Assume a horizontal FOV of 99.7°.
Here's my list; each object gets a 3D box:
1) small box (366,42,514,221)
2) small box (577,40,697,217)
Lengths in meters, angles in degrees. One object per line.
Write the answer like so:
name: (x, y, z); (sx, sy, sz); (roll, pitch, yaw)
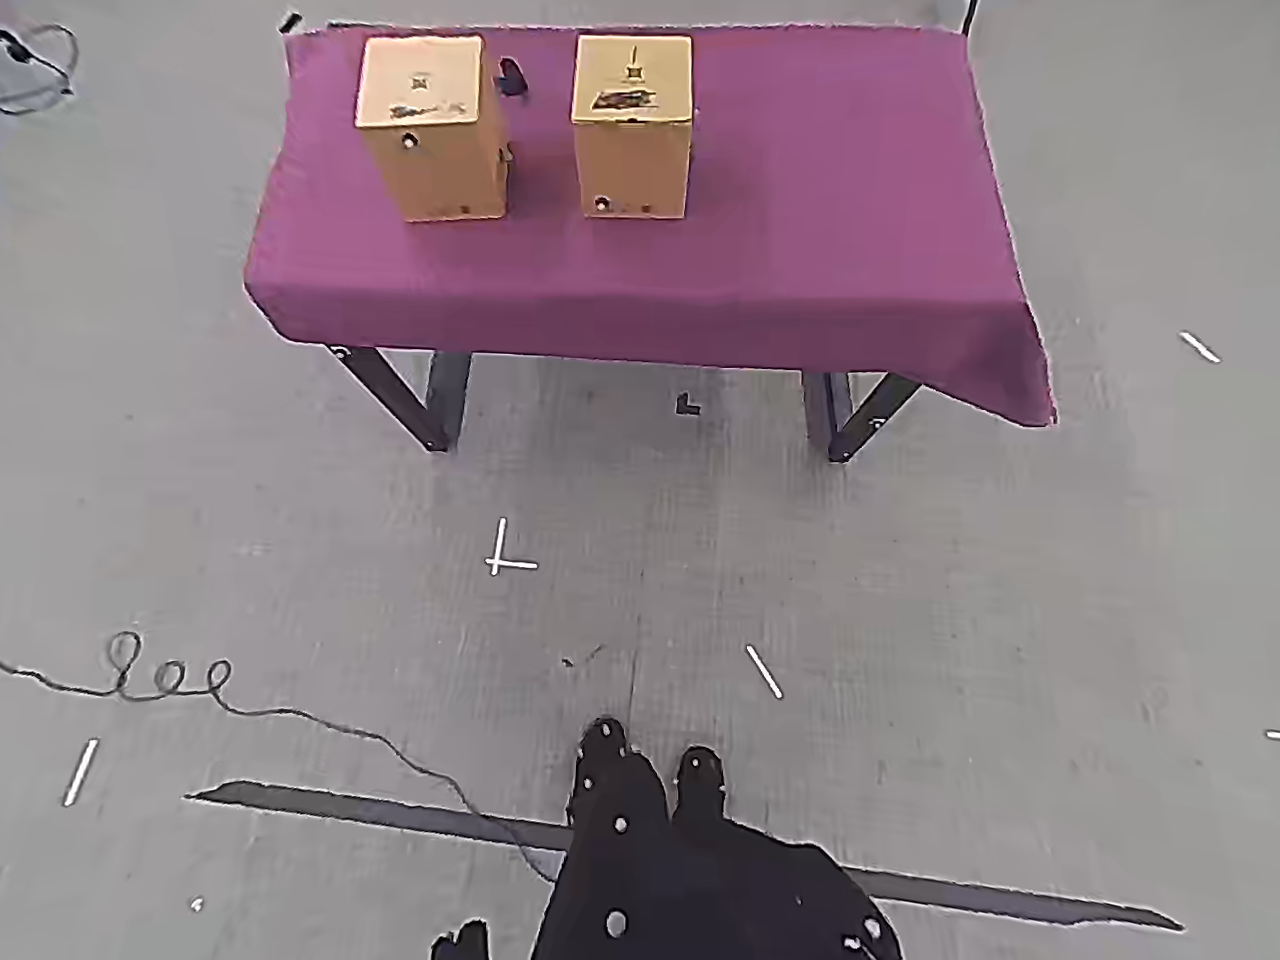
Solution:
small box: (-0.296, -0.535, 0.841); (0.168, 0.176, 0.179); (-3, 70, -1)
small box: (-0.001, -0.537, 0.841); (0.168, 0.176, 0.179); (2, 69, 1)
